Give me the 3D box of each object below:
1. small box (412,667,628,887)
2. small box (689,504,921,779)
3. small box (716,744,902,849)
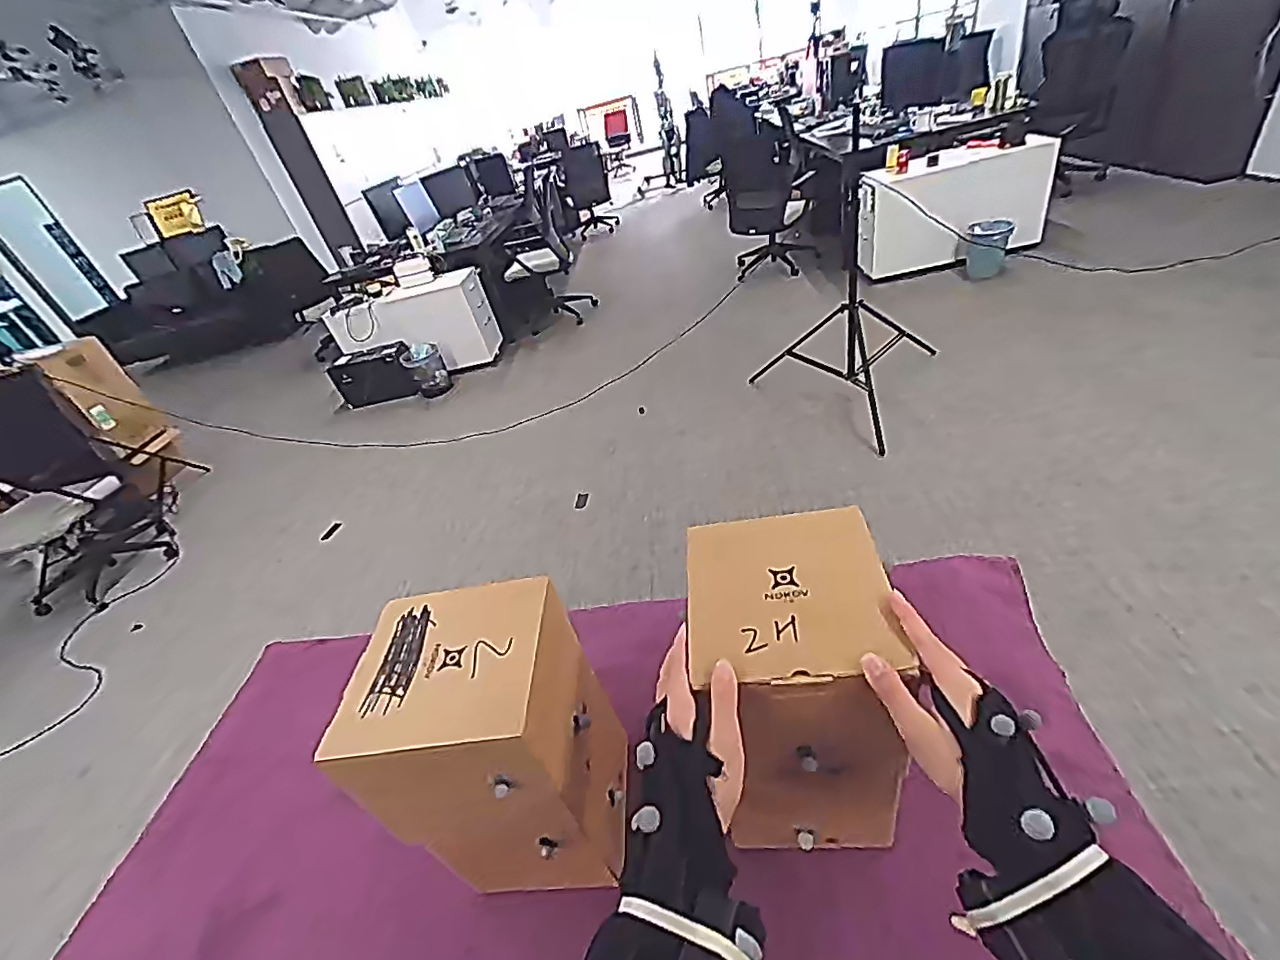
[{"bbox_3d":[-0.120,0.344,0.624,0.179,0.176,0.168,-9,36,8],"label":"small box"},{"bbox_3d":[0.140,0.148,0.500,0.168,0.176,0.179,-8,36,12],"label":"small box"},{"bbox_3d":[0.174,0.277,0.600,0.168,0.176,0.179,-8,37,11],"label":"small box"}]
